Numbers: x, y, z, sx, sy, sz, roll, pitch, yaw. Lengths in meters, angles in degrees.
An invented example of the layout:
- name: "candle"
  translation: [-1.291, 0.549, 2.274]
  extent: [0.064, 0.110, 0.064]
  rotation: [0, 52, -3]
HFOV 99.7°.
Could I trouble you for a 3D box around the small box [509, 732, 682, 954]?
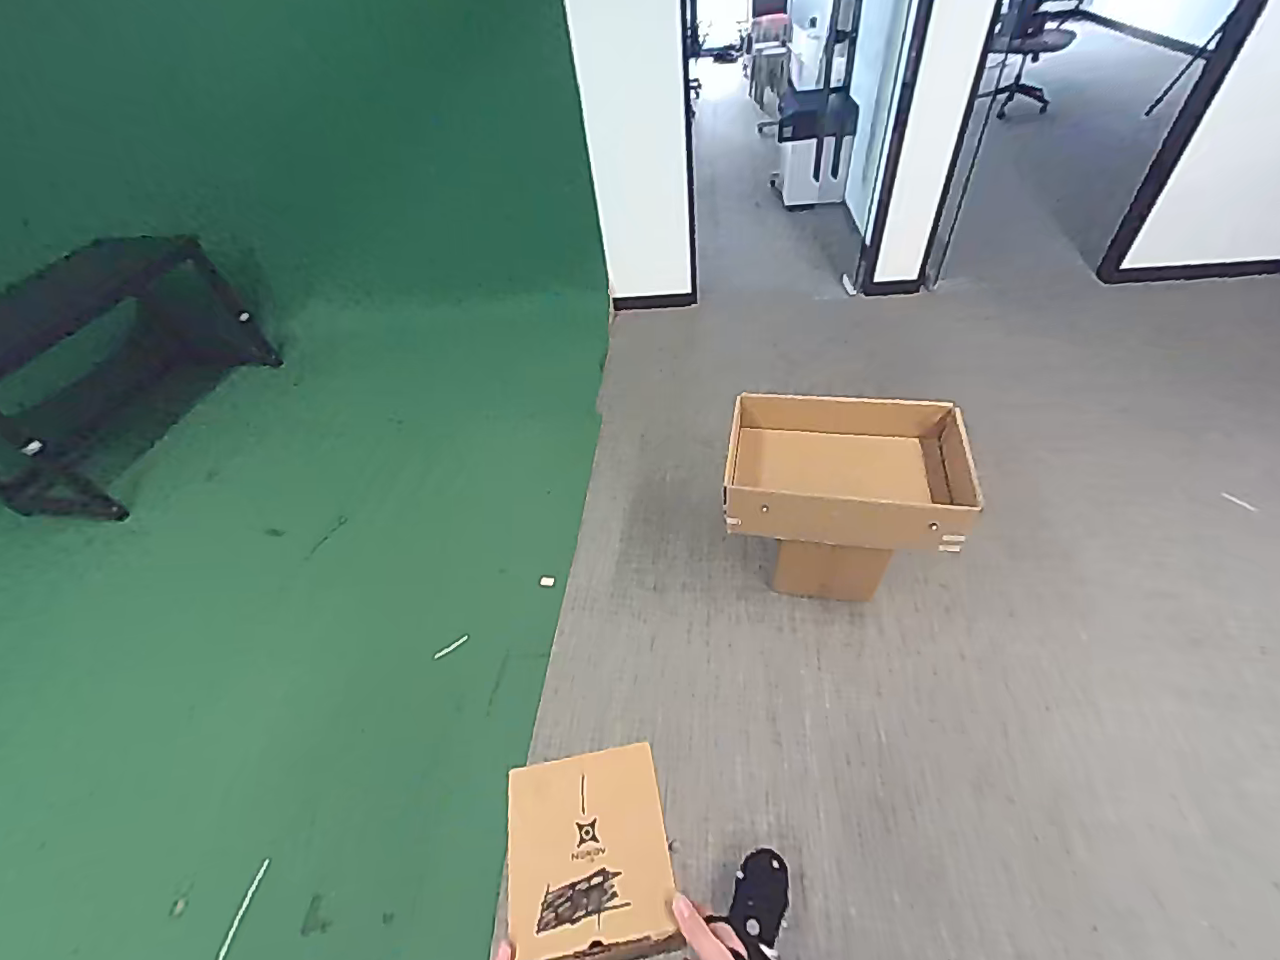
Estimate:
- name: "small box"
  translation: [-0.049, 0.427, 0.632]
  extent: [0.168, 0.176, 0.179]
  rotation: [-11, 45, -2]
